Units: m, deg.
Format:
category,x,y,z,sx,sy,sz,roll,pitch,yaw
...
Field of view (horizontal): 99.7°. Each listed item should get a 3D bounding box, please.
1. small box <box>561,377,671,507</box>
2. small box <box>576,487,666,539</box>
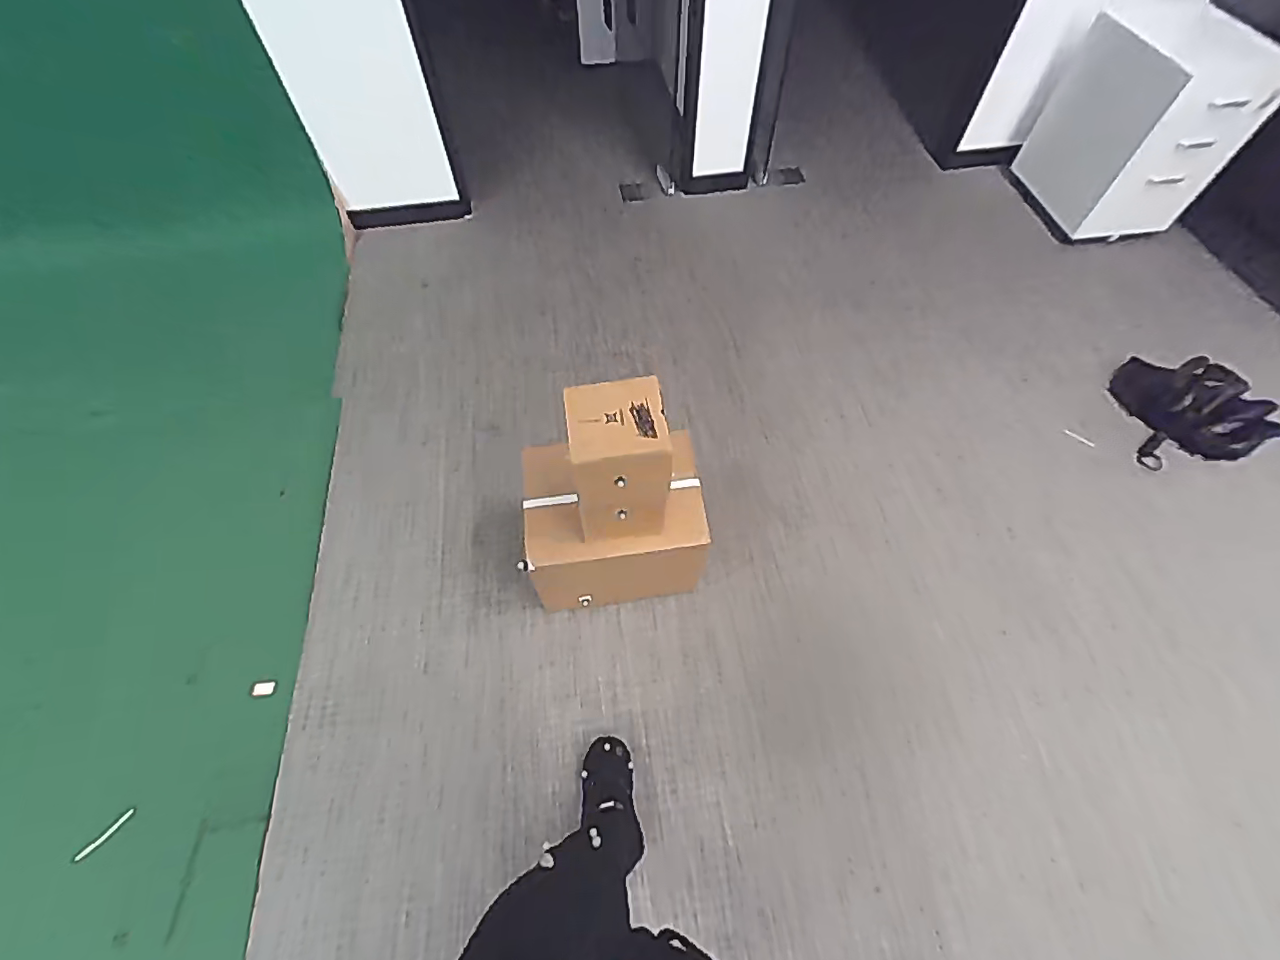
category,x,y,z,sx,sy,sz,roll,pitch,yaw
small box,-0.043,-0.066,1.006,0.179,0.176,0.168,-9,60,-3
small box,-0.045,0.013,1.150,0.179,0.176,0.168,-8,61,-5
